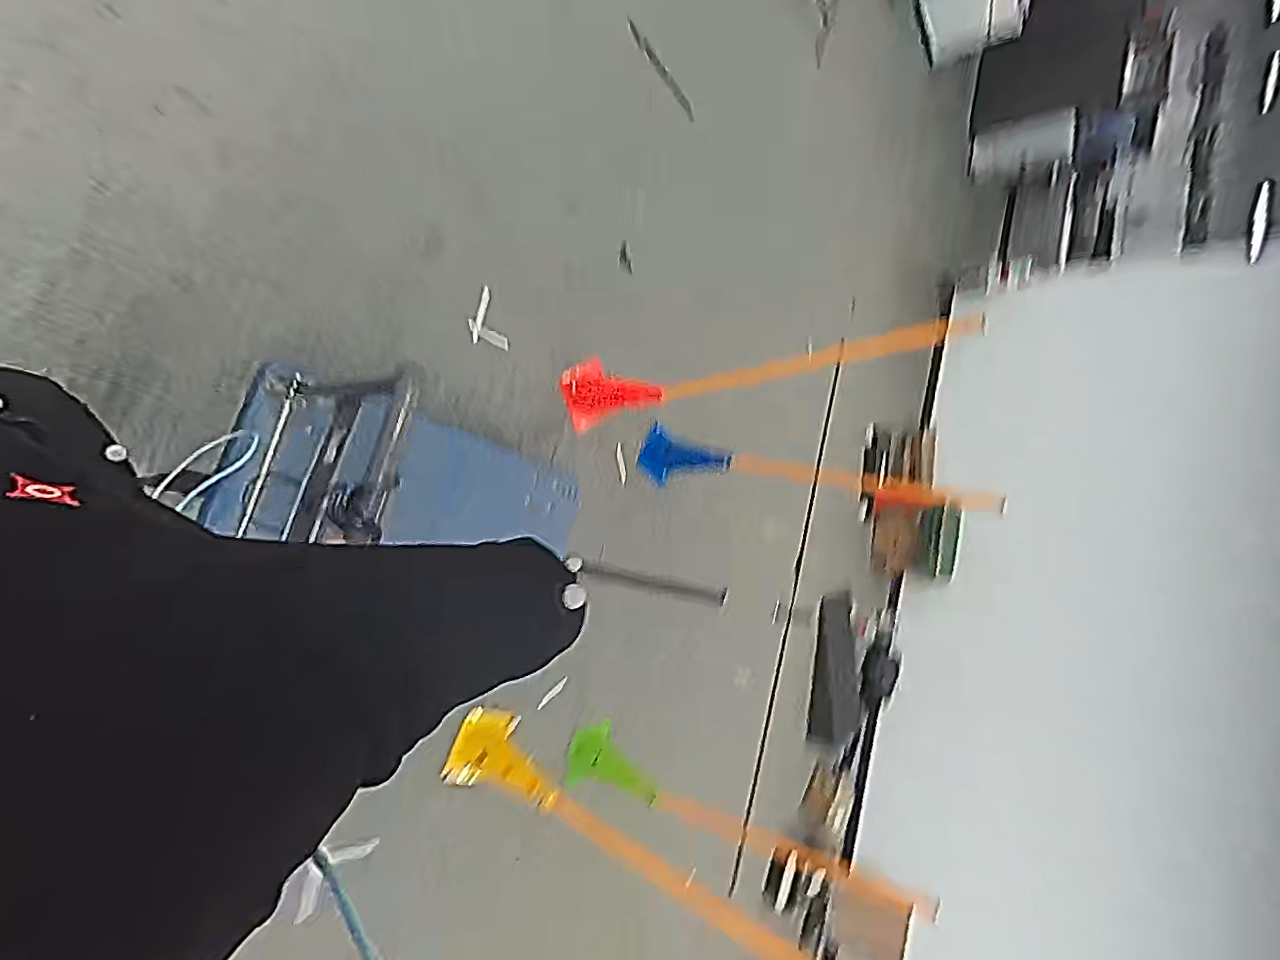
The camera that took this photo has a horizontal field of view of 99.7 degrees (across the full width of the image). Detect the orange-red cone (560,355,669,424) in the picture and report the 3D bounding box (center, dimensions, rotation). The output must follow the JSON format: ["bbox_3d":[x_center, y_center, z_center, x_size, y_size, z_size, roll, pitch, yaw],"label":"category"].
[{"bbox_3d":[-0.054,-0.293,1.747,0.198,0.360,0.199,-38,124,-37],"label":"orange-red cone"}]

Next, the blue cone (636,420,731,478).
[{"bbox_3d":[0.188,-0.107,2.069,0.192,0.380,0.193,42,65,-42],"label":"blue cone"}]

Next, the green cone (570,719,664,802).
[{"bbox_3d":[-0.059,1.041,1.941,0.202,0.368,0.200,2,94,-47],"label":"green cone"}]
